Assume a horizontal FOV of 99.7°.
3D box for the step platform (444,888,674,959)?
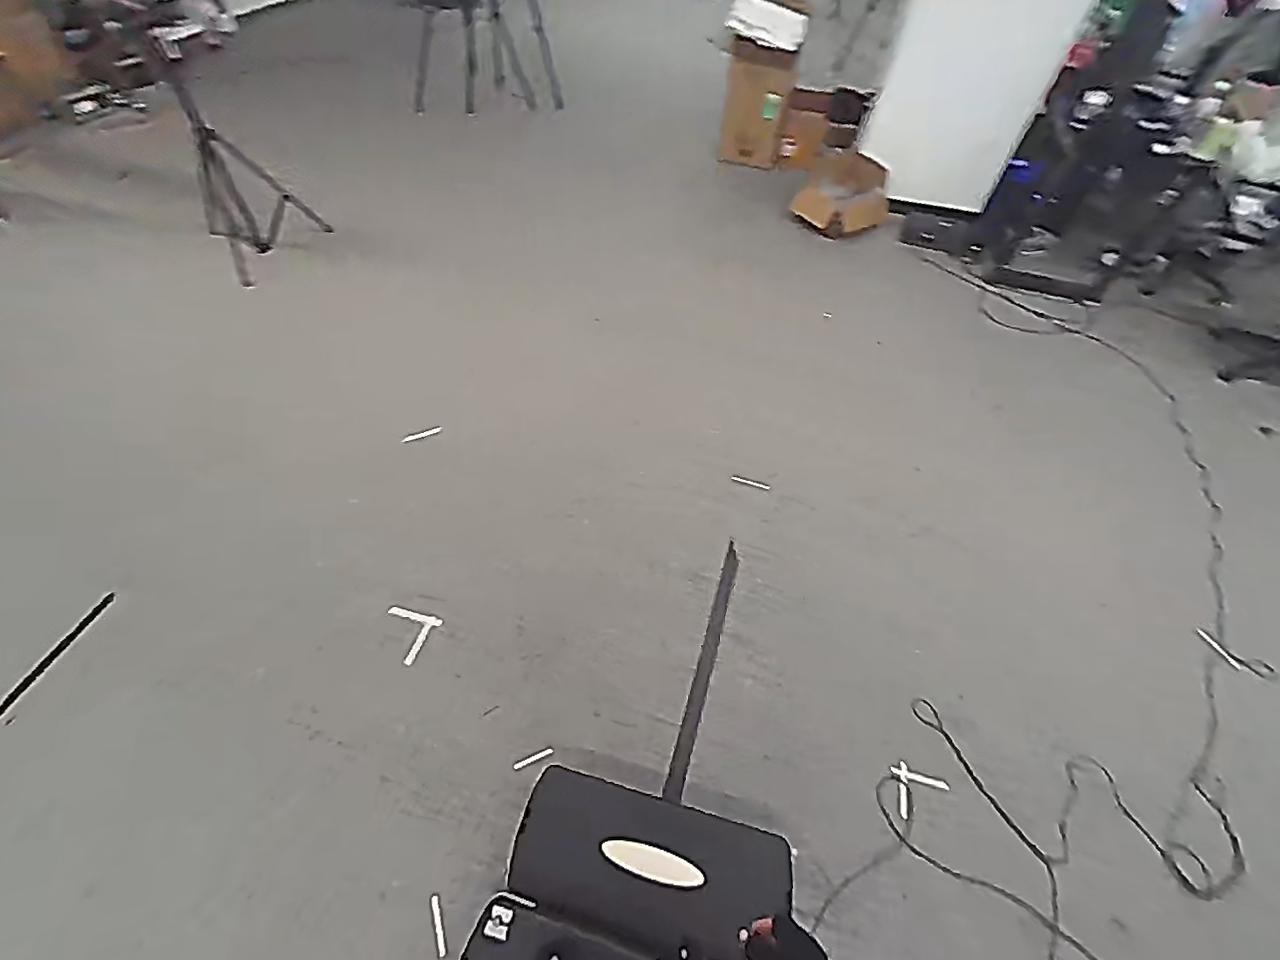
[{"bbox_3d":[-0.089,1.117,1.113,0.684,0.204,0.286,14,53,8],"label":"step platform"}]
